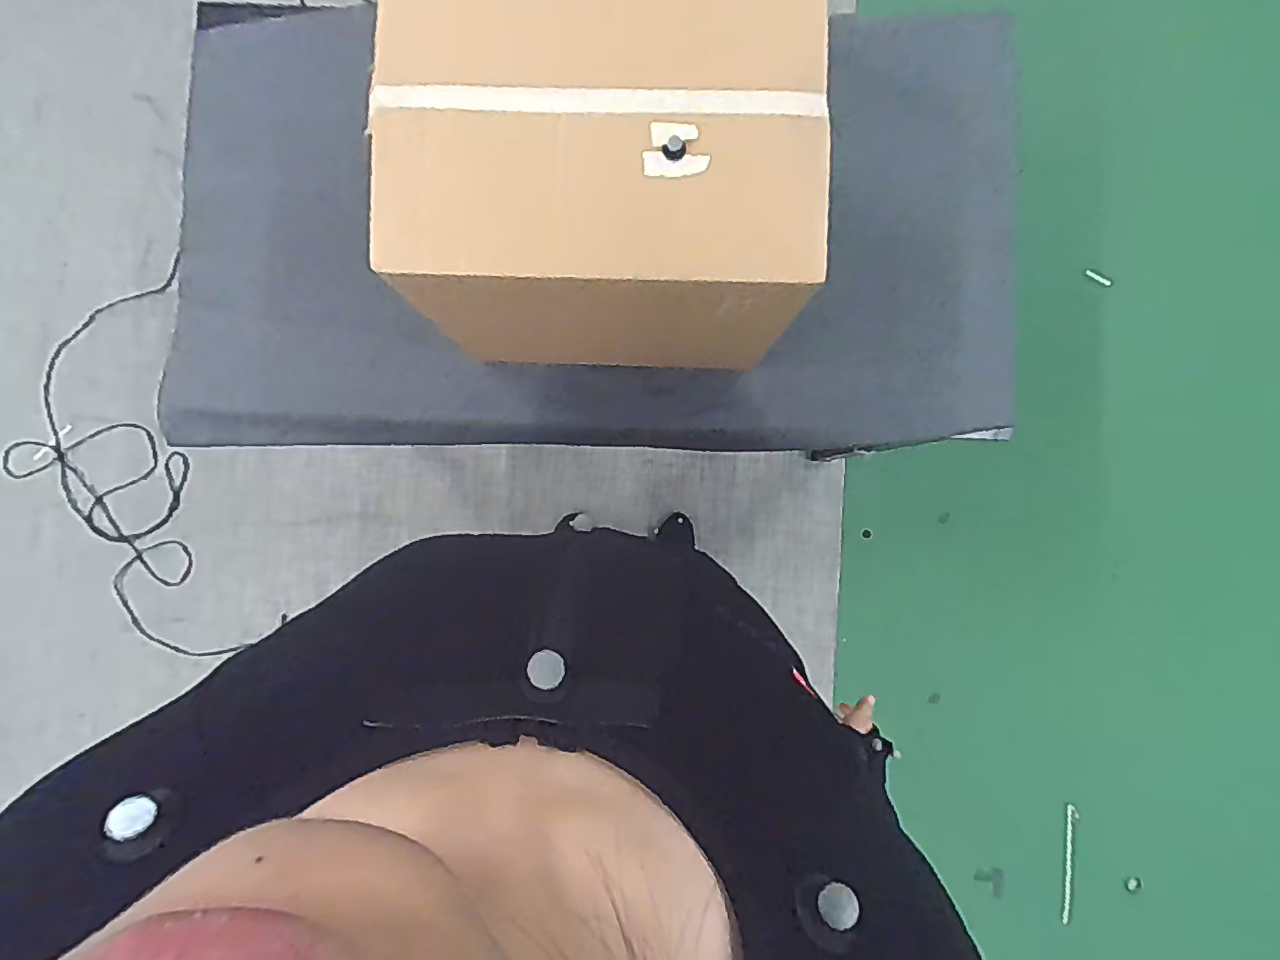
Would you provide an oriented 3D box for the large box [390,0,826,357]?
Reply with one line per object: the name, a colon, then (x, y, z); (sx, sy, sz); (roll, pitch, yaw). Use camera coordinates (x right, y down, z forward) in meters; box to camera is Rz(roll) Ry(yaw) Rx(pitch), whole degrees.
large box: (-0.030, -0.337, 0.644); (0.408, 0.320, 0.320); (1, 89, 0)
